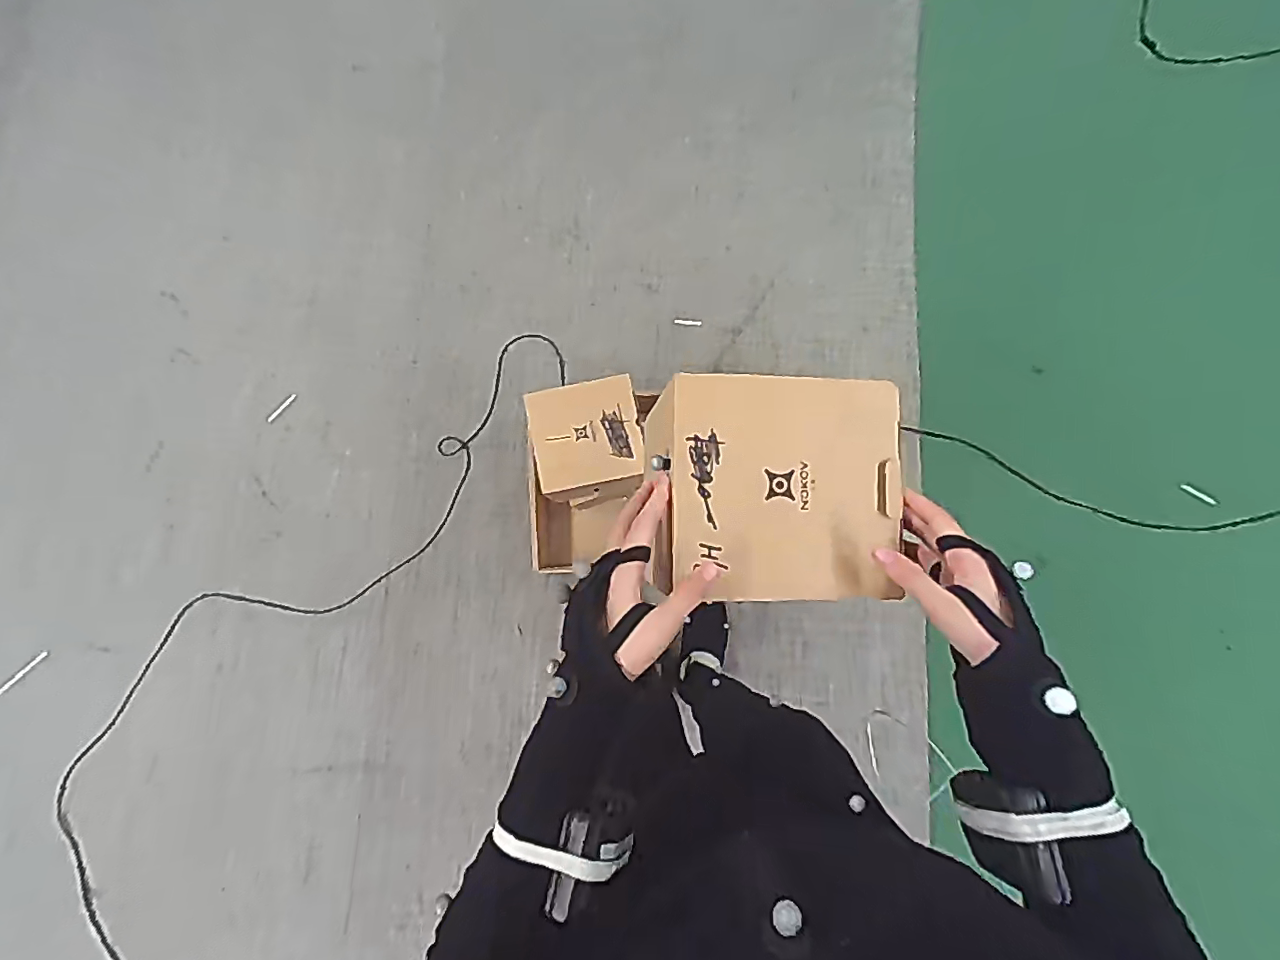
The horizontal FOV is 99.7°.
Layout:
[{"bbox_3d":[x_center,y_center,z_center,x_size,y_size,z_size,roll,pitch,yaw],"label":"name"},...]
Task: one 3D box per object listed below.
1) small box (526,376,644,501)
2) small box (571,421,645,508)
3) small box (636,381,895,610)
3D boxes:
[{"bbox_3d":[-0.083,-0.064,0.931,0.179,0.176,0.168,-12,84,-1],"label":"small box"},{"bbox_3d":[-0.072,-0.048,1.094,0.179,0.176,0.168,-19,84,-2],"label":"small box"},{"bbox_3d":[0.095,0.019,0.475,0.179,0.176,0.168,1,84,-6],"label":"small box"}]
